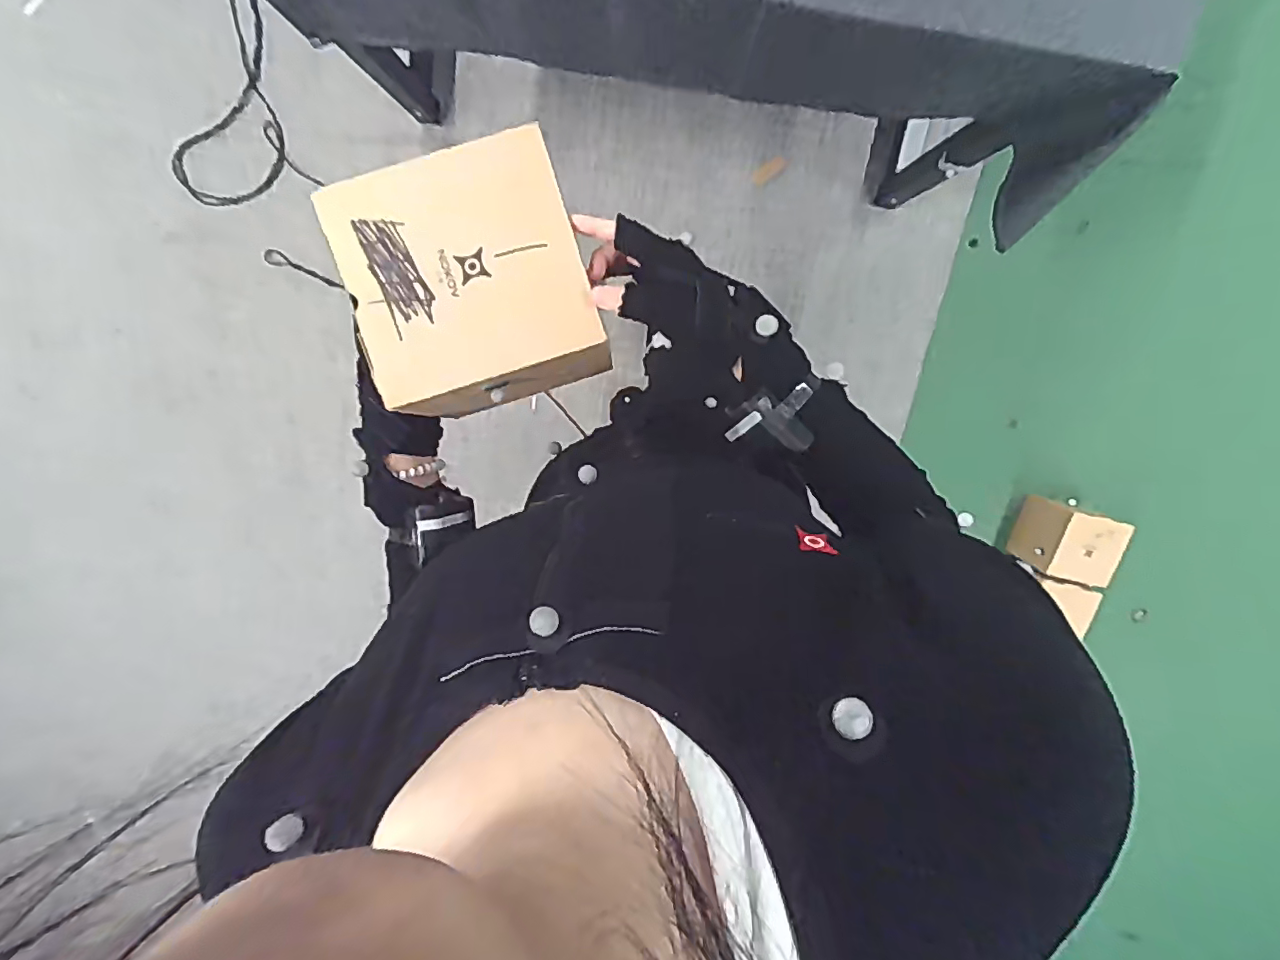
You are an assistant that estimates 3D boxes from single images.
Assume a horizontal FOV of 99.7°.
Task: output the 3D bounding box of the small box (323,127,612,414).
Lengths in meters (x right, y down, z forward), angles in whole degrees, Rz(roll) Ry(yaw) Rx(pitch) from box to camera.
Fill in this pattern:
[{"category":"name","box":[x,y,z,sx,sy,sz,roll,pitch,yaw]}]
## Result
[{"category":"small box","box":[-0.130,-0.162,0.481,0.179,0.176,0.168,-18,94,-1]}]
